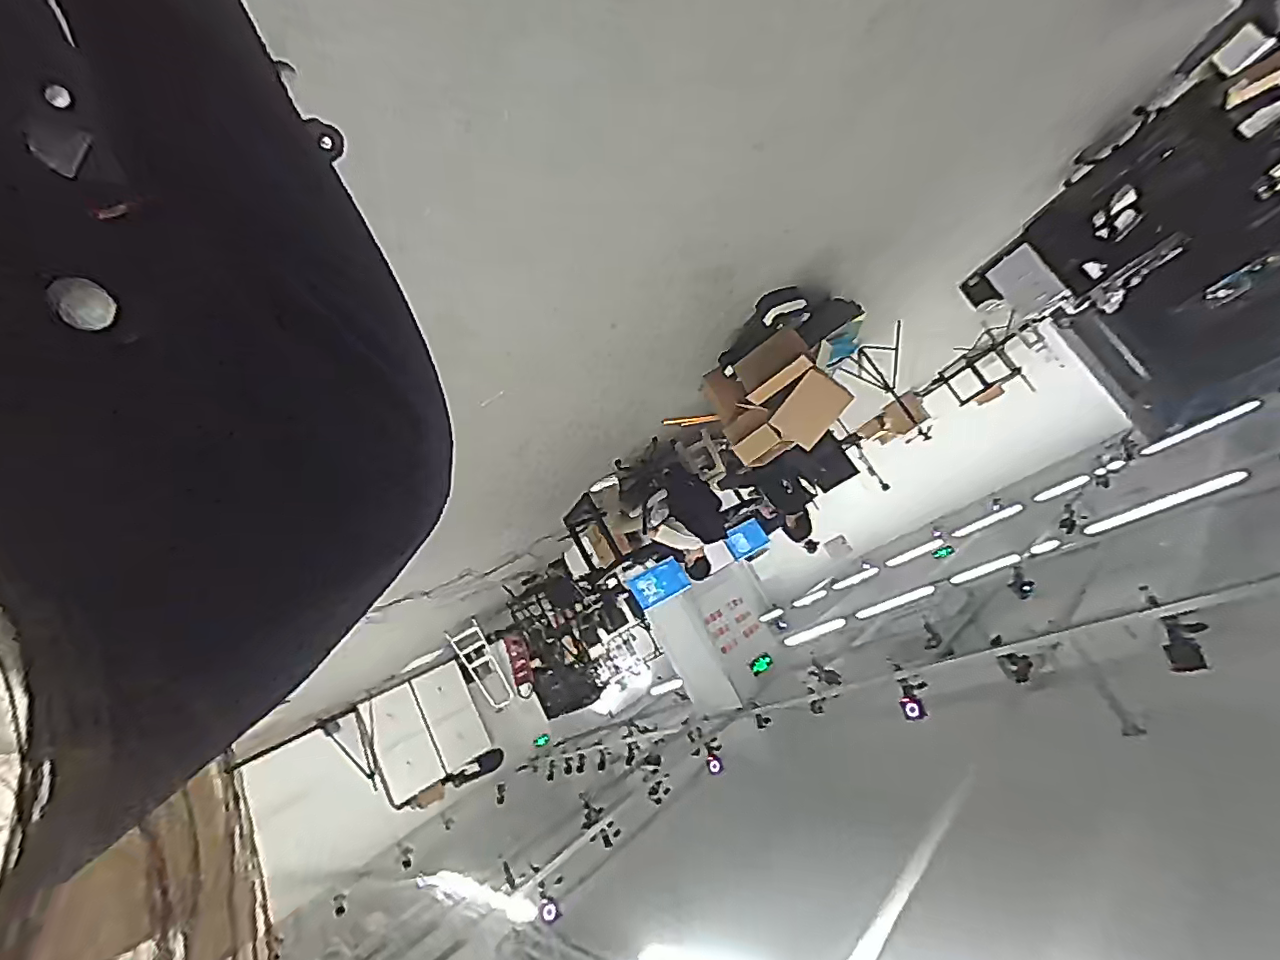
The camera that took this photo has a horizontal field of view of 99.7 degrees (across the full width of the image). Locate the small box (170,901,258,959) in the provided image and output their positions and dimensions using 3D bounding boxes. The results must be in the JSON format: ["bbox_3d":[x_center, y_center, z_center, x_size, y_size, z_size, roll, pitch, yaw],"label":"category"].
[{"bbox_3d":[-1.288,1.421,1.638,0.168,0.176,0.179,-20,160,-38],"label":"small box"}]
